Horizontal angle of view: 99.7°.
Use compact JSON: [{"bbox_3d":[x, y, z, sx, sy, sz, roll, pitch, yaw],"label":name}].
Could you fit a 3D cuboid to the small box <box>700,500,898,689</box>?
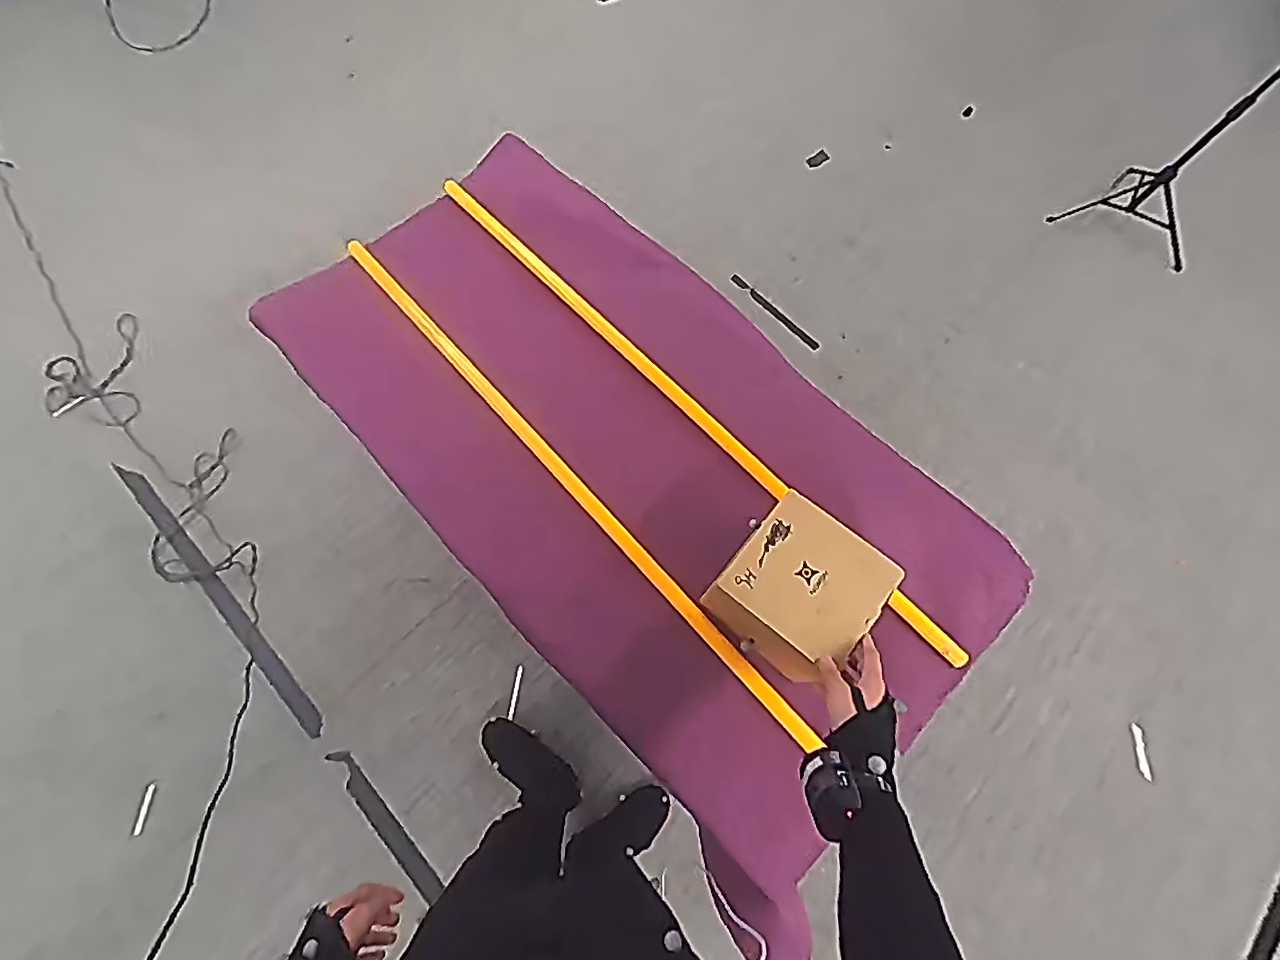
[{"bbox_3d":[0.204,0.160,0.744,0.179,0.176,0.168,39,73,12],"label":"small box"}]
